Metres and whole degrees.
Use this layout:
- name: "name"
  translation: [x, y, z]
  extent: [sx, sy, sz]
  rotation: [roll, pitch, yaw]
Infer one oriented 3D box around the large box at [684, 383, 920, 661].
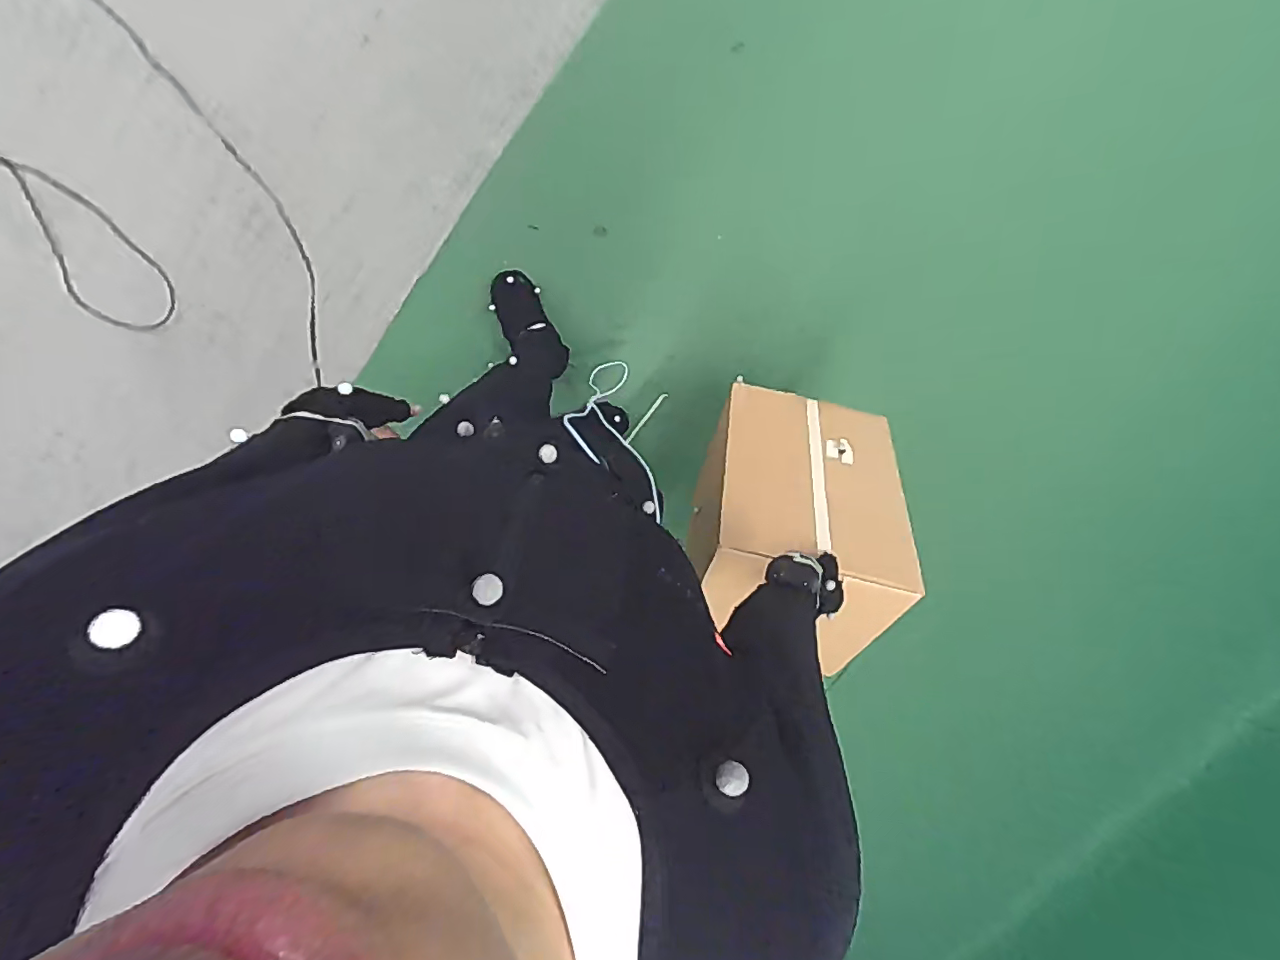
- name: "large box"
  translation: [0.278, 0.080, 1.047]
  extent: [0.320, 0.408, 0.320]
  rotation: [13, 138, -1]
